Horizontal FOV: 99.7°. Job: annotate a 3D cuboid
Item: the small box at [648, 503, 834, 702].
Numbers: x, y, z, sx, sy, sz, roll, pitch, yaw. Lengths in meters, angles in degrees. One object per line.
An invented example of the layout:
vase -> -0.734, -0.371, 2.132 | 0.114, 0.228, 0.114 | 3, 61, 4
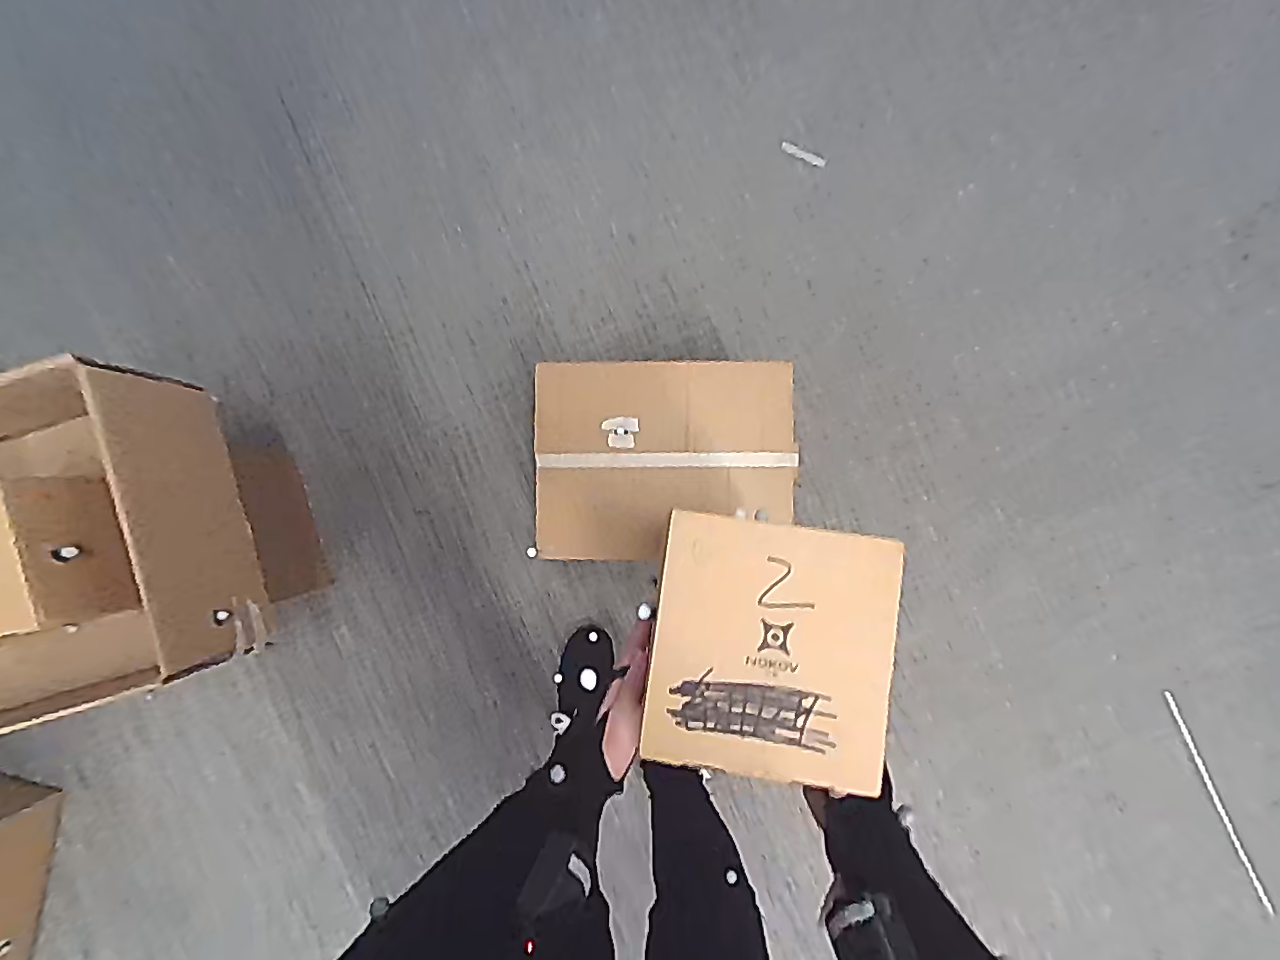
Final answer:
small box -> 0.105, 0.127, 0.619 | 0.168, 0.176, 0.179 | 8, 85, 2

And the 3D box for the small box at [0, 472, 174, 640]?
small box -> -0.741, 0.094, 0.669 | 0.168, 0.176, 0.179 | -15, 91, 2

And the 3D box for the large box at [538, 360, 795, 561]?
large box -> 0.048, -0.031, 0.988 | 0.408, 0.320, 0.320 | 0, 90, 3
